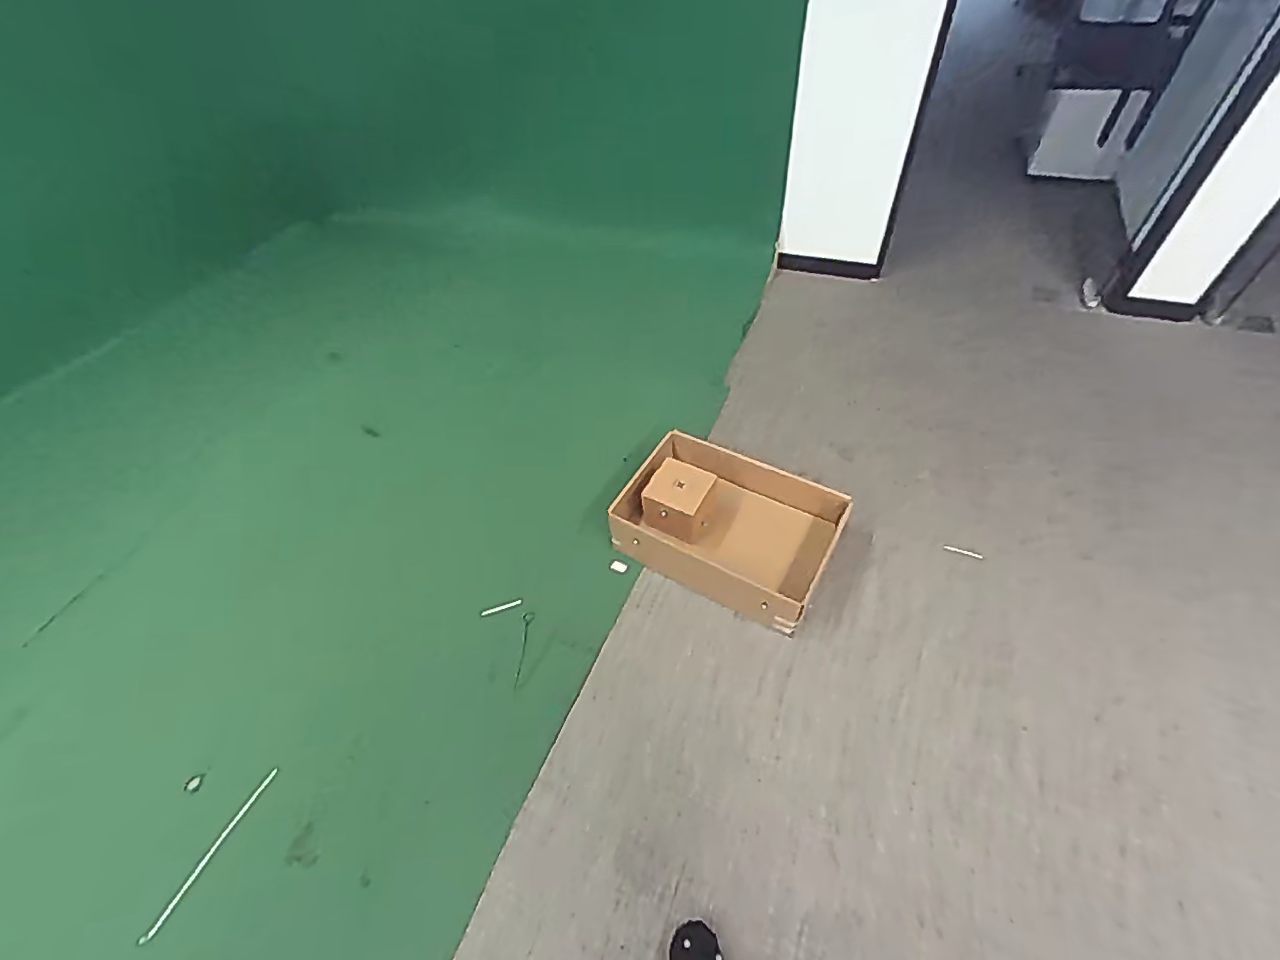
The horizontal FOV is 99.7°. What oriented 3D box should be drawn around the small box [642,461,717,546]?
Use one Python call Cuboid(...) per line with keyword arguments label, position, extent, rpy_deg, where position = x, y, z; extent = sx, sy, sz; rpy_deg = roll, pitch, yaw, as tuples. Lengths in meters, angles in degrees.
Cuboid(label="small box", position=(0.124, 0.076, 1.674), extent=(0.179, 0.176, 0.168), rpy_deg=(23, 57, 22))
